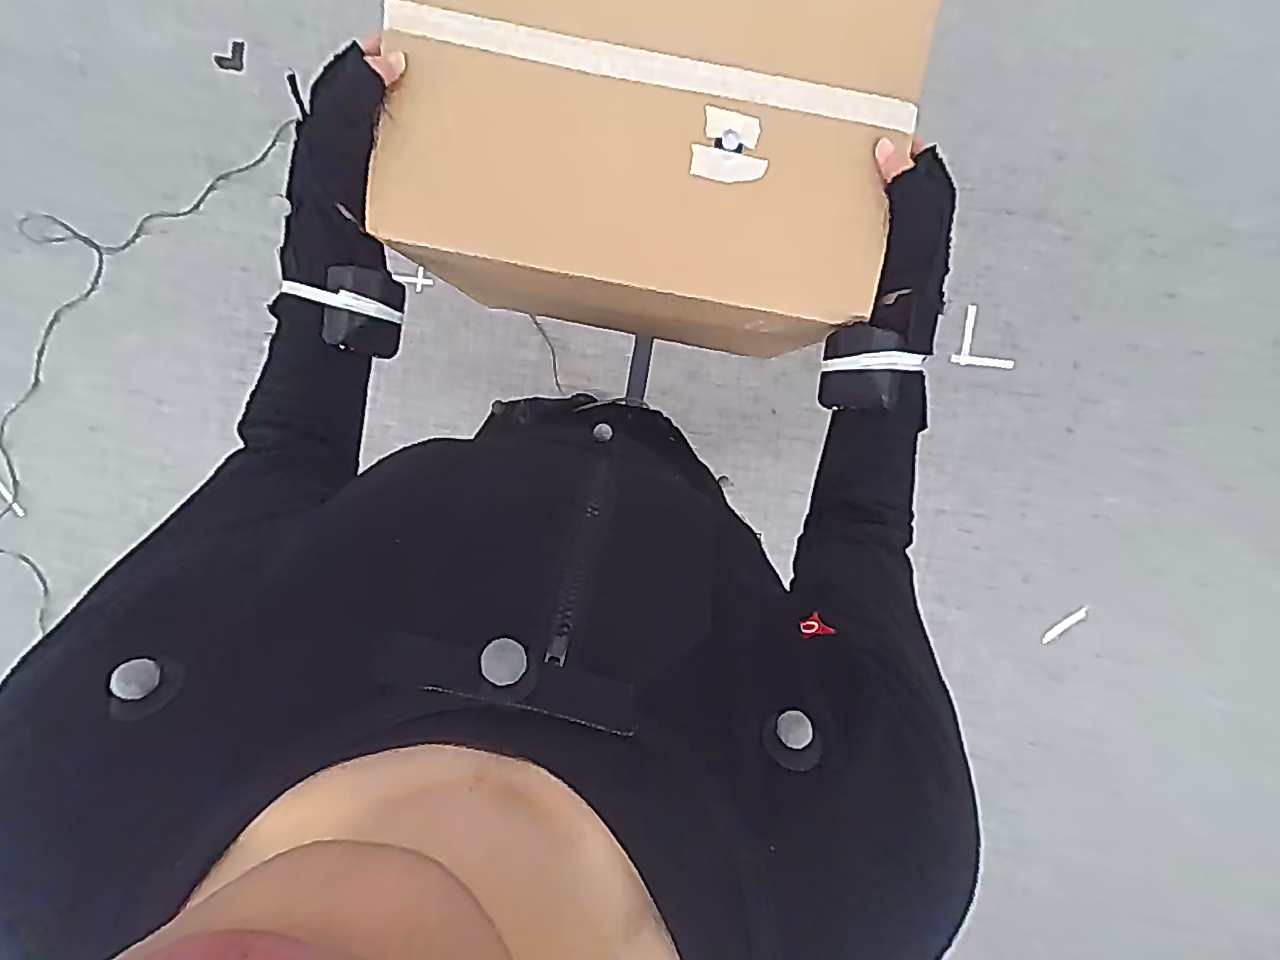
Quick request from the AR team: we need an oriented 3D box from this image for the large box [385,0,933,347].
[{"bbox_3d":[0.010,-0.339,0.564,0.408,0.320,0.320,10,99,-3],"label":"large box"}]
